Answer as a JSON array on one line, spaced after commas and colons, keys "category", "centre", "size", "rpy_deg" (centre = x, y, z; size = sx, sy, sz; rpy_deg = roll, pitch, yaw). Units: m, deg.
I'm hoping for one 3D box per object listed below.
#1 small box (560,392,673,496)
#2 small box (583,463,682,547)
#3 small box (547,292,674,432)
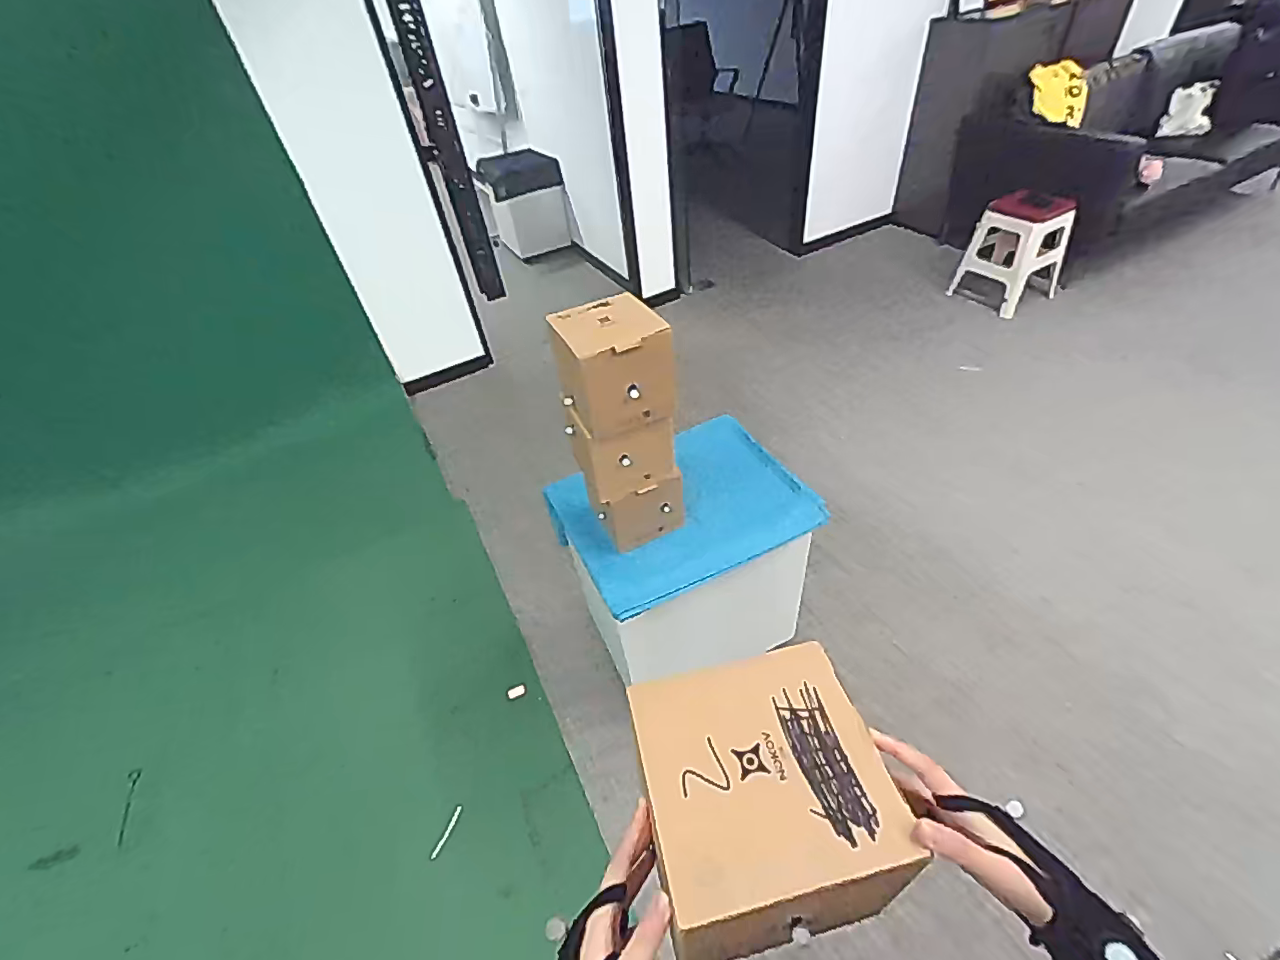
[{"category": "small box", "centre": [-0.042, -0.088, 1.076], "size": [0.168, 0.176, 0.179], "rpy_deg": [-20, 43, -14]}, {"category": "small box", "centre": [-0.015, 0.025, 1.189], "size": [0.168, 0.176, 0.179], "rpy_deg": [-21, 44, -15]}, {"category": "small box", "centre": [-0.048, -0.203, 0.959], "size": [0.168, 0.176, 0.179], "rpy_deg": [-20, 44, -14]}]
